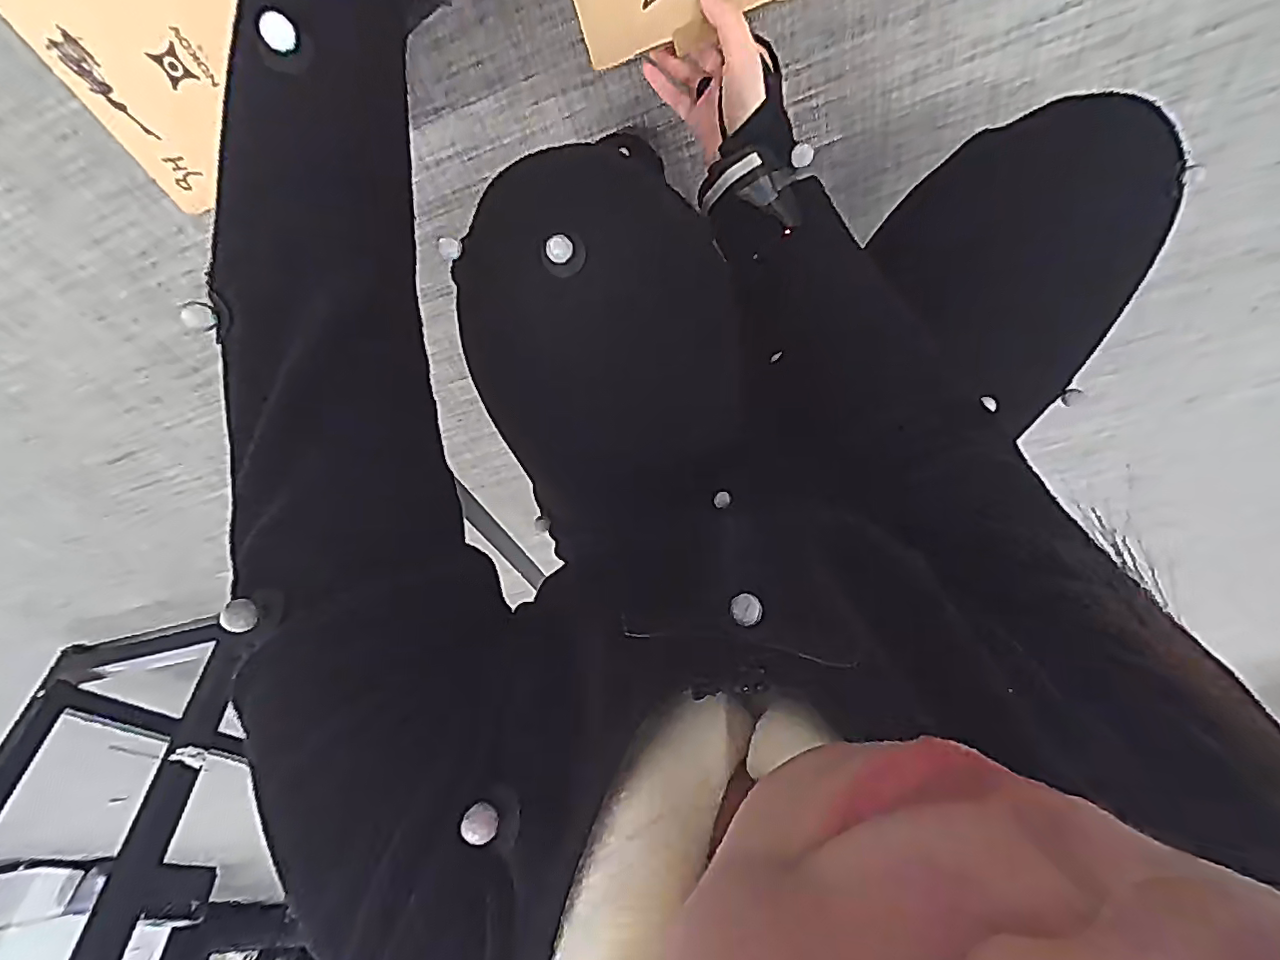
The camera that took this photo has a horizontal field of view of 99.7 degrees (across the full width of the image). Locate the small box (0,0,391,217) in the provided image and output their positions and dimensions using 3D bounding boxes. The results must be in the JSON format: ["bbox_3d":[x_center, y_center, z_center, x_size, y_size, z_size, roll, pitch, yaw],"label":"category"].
[{"bbox_3d":[-0.320,-0.345,0.422,0.179,0.176,0.168,-15,139,8],"label":"small box"}]

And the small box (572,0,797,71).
[{"bbox_3d":[0.015,-0.425,0.367,0.168,0.176,0.179,-13,139,10],"label":"small box"}]
